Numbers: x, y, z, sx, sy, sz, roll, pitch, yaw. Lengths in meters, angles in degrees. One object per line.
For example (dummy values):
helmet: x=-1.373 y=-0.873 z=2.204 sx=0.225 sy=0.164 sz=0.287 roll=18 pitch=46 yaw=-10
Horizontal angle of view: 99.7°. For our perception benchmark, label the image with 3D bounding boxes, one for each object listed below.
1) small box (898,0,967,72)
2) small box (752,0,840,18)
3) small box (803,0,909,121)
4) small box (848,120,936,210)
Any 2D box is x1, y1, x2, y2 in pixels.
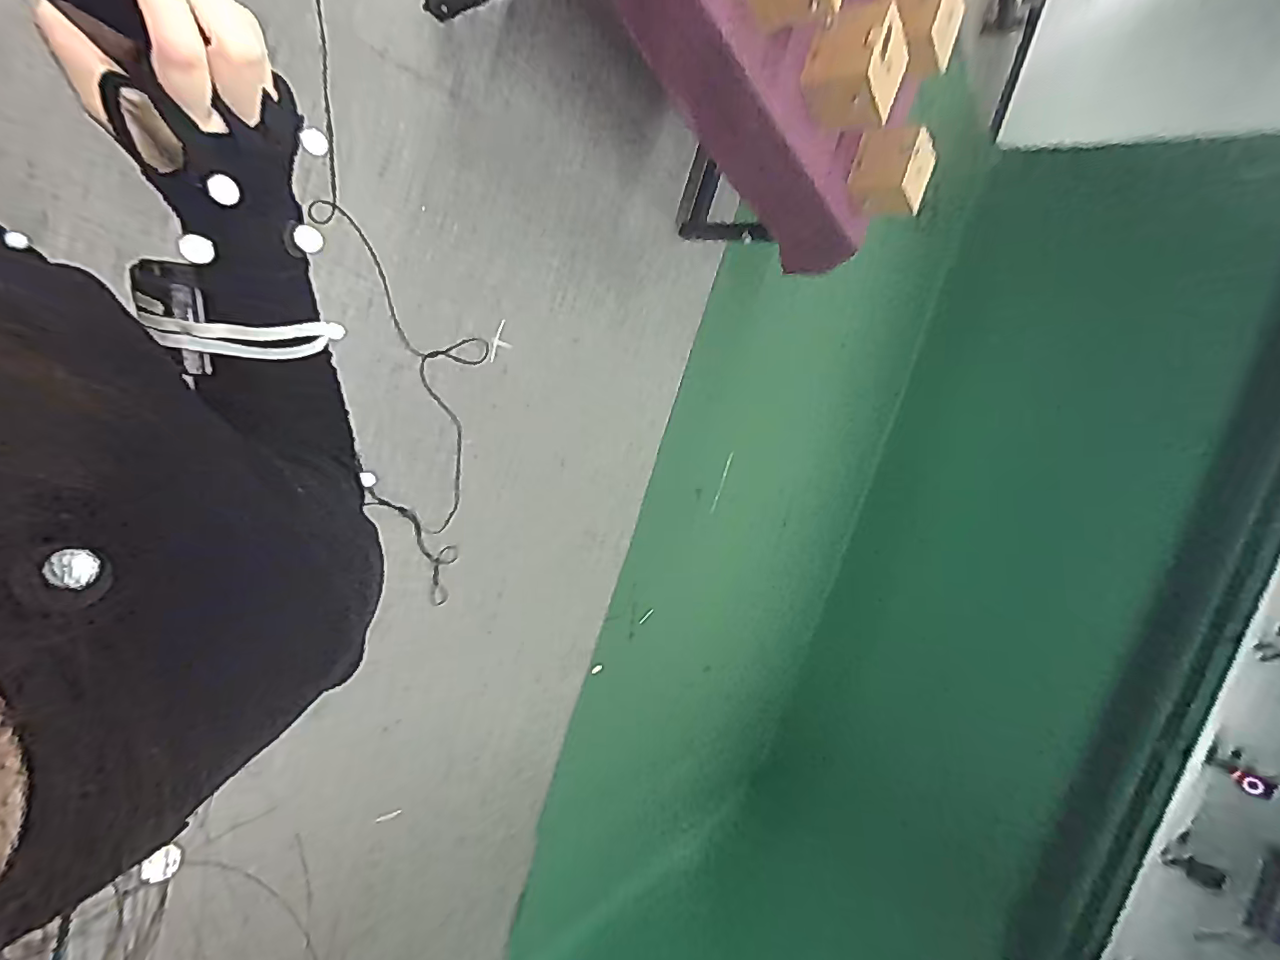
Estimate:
small box: x=0.739 y=-1.231 z=1.438 sx=0.168 sy=0.176 sz=0.179 roll=7 pitch=102 yaw=-51
small box: x=0.293 y=-1.019 z=1.009 sx=0.179 sy=0.176 sz=0.168 roll=13 pitch=97 yaw=-53
small box: x=0.511 y=-0.990 z=1.285 sx=0.179 sy=0.176 sz=0.168 roll=16 pitch=95 yaw=-53
small box: x=0.741 y=-0.922 z=1.593 sx=0.179 sy=0.176 sz=0.168 roll=10 pitch=99 yaw=-52
